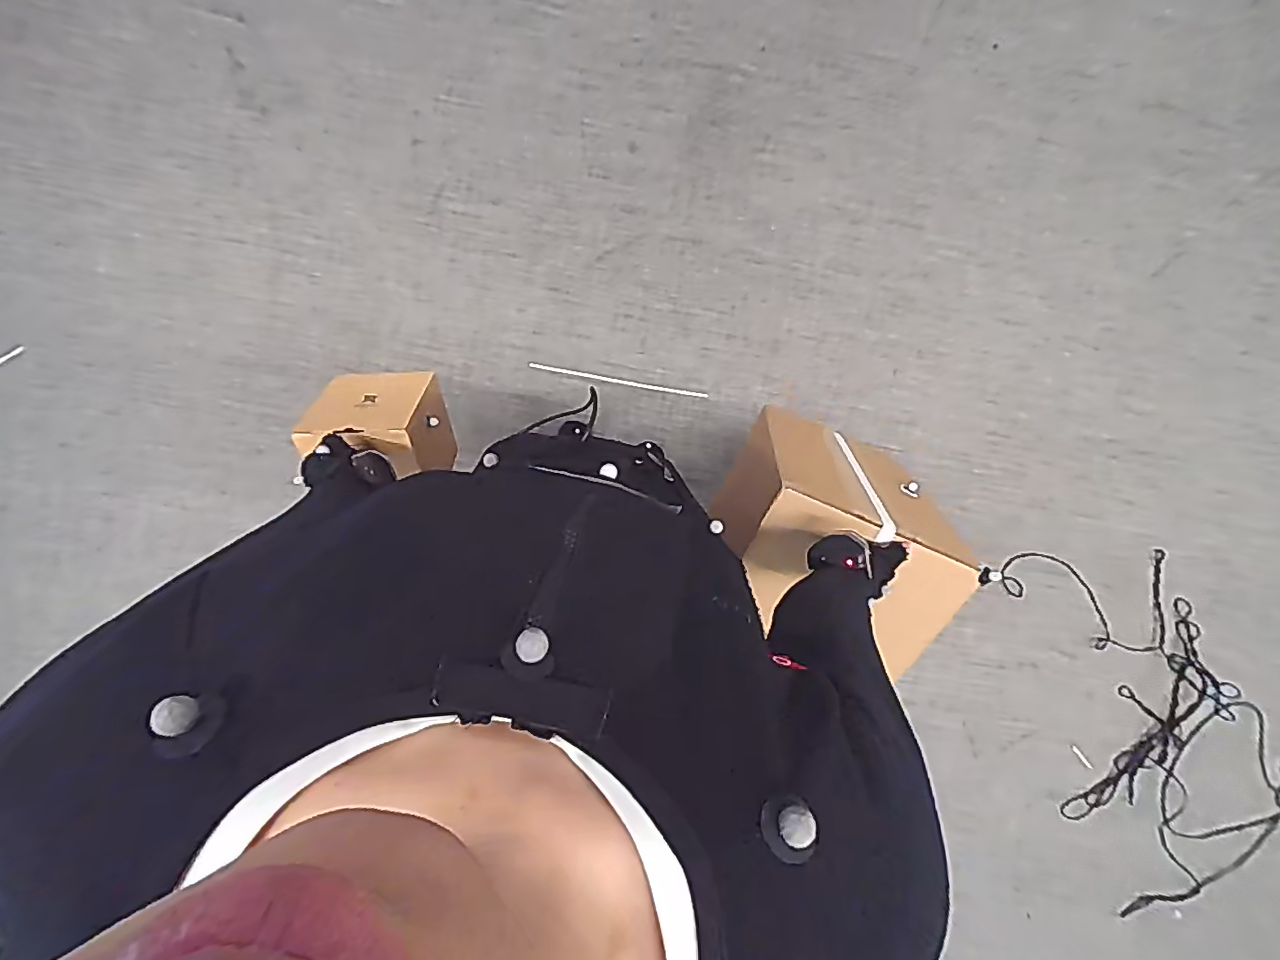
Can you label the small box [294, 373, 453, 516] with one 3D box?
[{"bbox_3d":[-0.419,-0.061,0.890,0.168,0.179,0.176,-3,129,-1],"label":"small box"}]
